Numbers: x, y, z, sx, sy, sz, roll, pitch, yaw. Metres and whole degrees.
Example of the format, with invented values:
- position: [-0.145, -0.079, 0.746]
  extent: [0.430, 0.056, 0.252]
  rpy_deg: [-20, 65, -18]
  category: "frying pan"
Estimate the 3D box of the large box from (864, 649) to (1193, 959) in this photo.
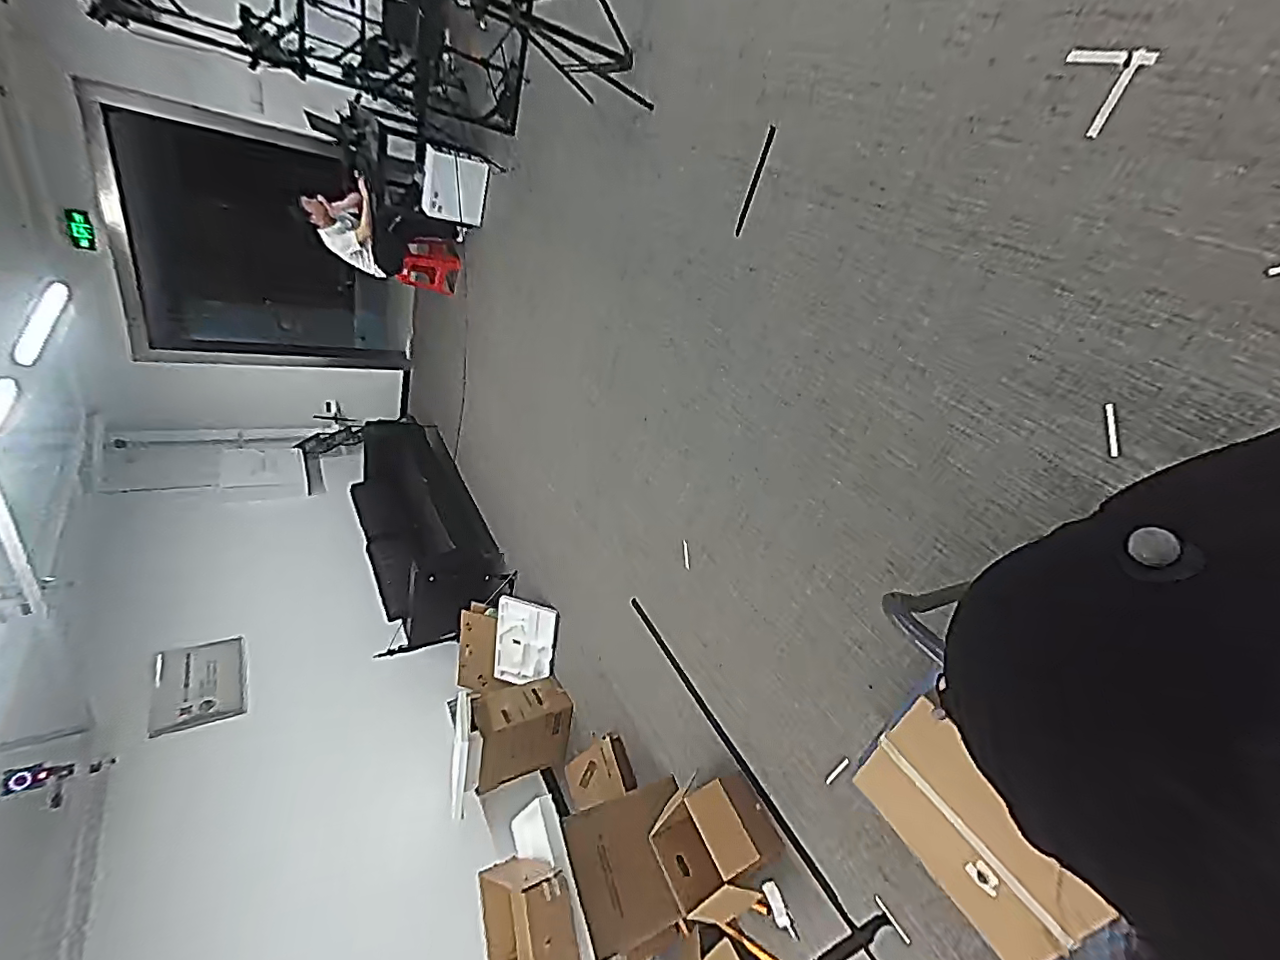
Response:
- position: [0.775, 0.632, 1.125]
  extent: [0.408, 0.320, 0.320]
  rpy_deg: [47, 131, 41]
  category: "large box"
